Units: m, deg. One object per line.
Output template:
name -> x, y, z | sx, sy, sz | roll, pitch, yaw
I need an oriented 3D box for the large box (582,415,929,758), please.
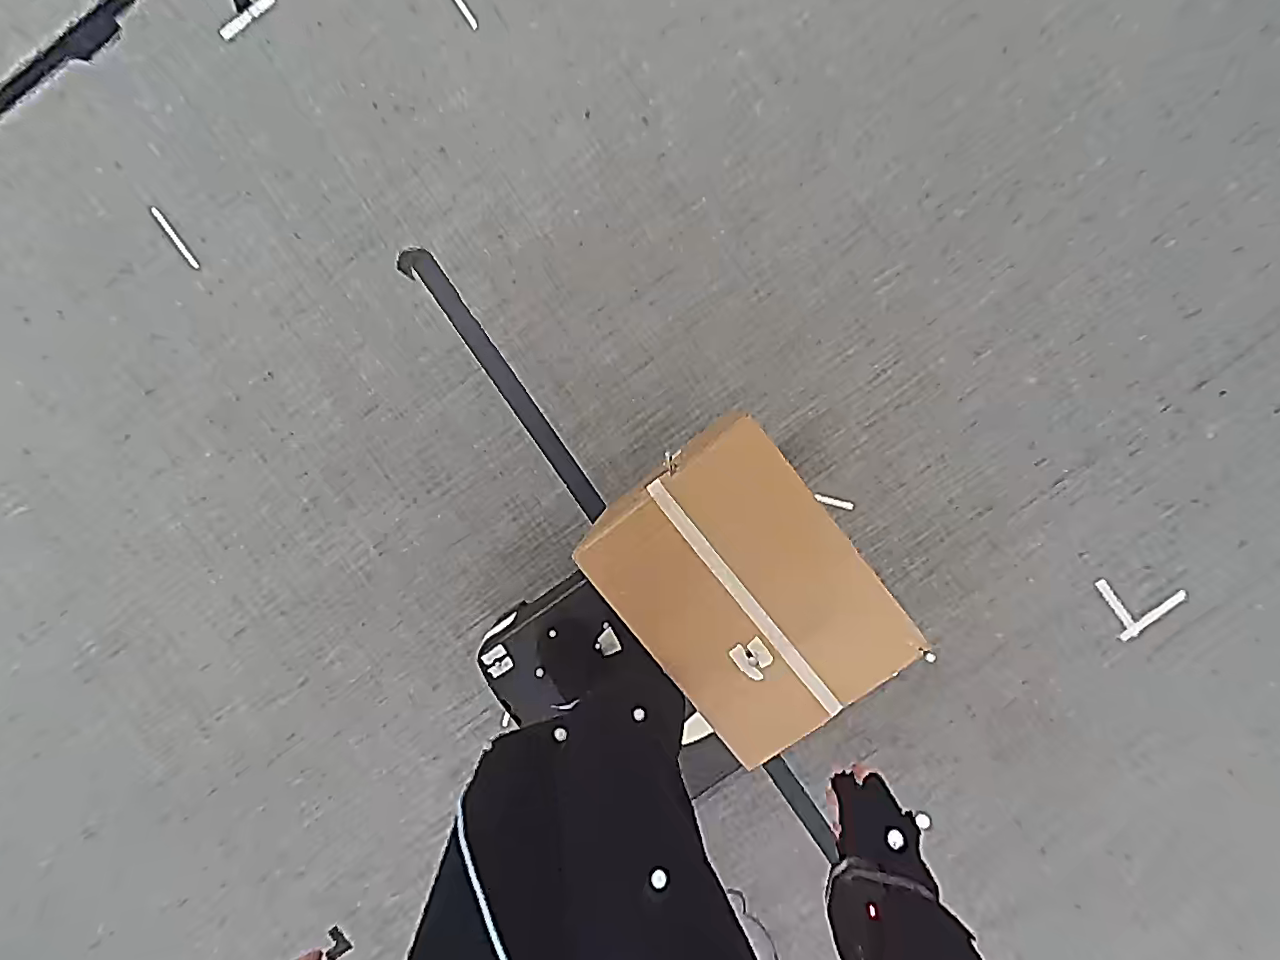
large box -> 0.167, 0.141, 0.900 | 0.320, 0.320, 0.408 | -39, 94, 10
